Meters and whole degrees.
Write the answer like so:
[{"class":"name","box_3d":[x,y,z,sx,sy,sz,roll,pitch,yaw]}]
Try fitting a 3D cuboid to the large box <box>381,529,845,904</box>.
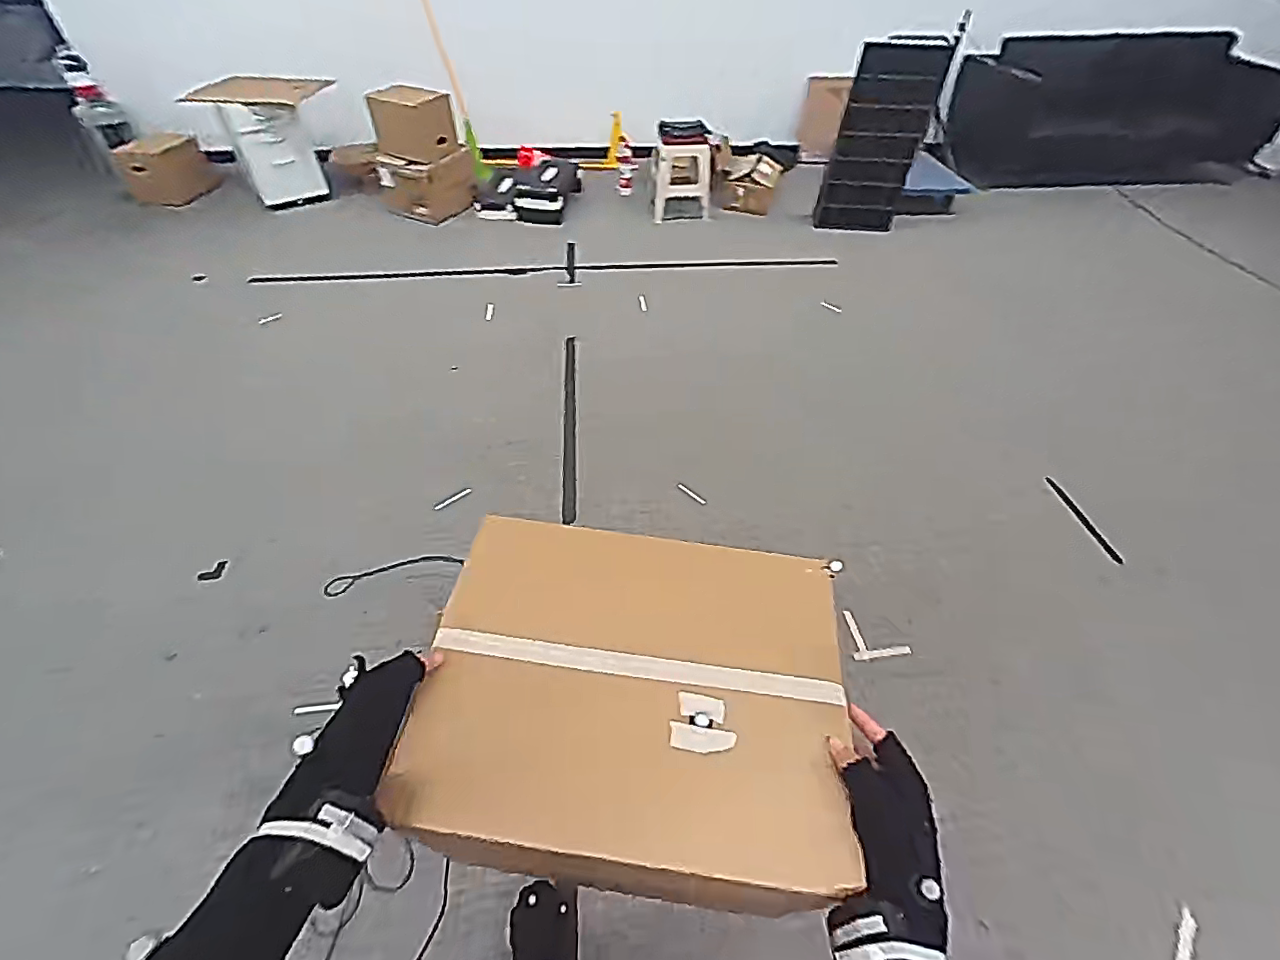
[{"class":"large box","box_3d":[-0.019,0.291,0.660,0.408,0.320,0.320,7,50,2]}]
